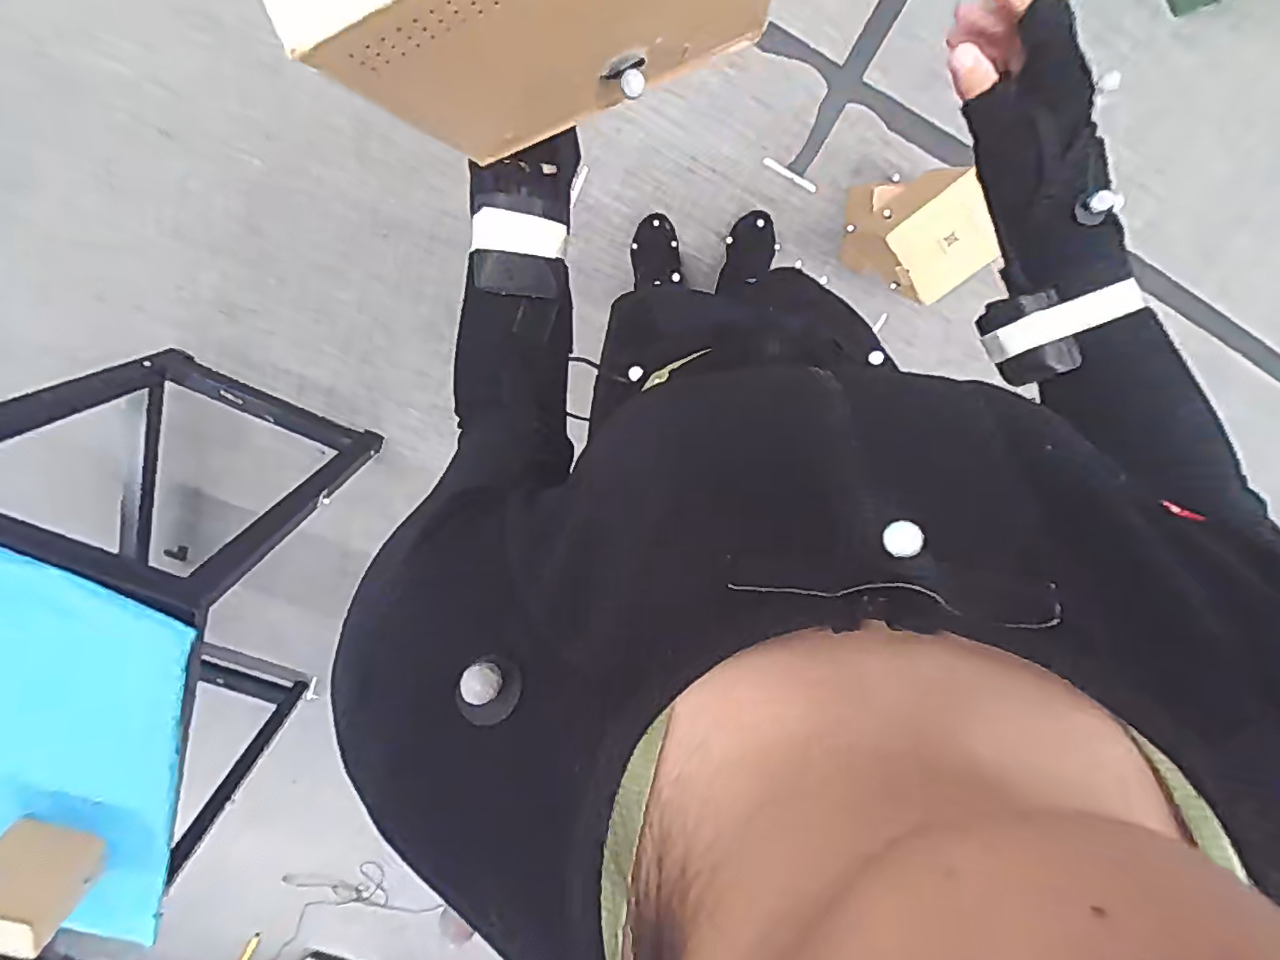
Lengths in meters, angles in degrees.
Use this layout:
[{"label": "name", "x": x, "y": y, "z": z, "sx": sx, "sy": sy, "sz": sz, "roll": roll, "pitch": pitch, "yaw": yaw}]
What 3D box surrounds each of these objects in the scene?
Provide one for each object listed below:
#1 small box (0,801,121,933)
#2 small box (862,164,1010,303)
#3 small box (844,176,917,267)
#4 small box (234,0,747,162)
[{"label": "small box", "x": -1.307, "y": 0.841, "z": 1.185, "sx": 0.179, "sy": 0.176, "sz": 0.168, "roll": 26, "pitch": 117, "yaw": -13}, {"label": "small box", "x": 0.555, "y": -0.475, "z": 1.043, "sx": 0.179, "sy": 0.176, "sz": 0.168, "roll": -35, "pitch": 114, "yaw": 19}, {"label": "small box", "x": 0.560, "y": -0.567, "z": 1.181, "sx": 0.179, "sy": 0.176, "sz": 0.168, "roll": -5, "pitch": 118, "yaw": 3}, {"label": "small box", "x": -0.060, "y": -0.257, "z": 0.207, "sx": 0.179, "sy": 0.176, "sz": 0.168, "roll": -17, "pitch": 107, "yaw": 12}]
